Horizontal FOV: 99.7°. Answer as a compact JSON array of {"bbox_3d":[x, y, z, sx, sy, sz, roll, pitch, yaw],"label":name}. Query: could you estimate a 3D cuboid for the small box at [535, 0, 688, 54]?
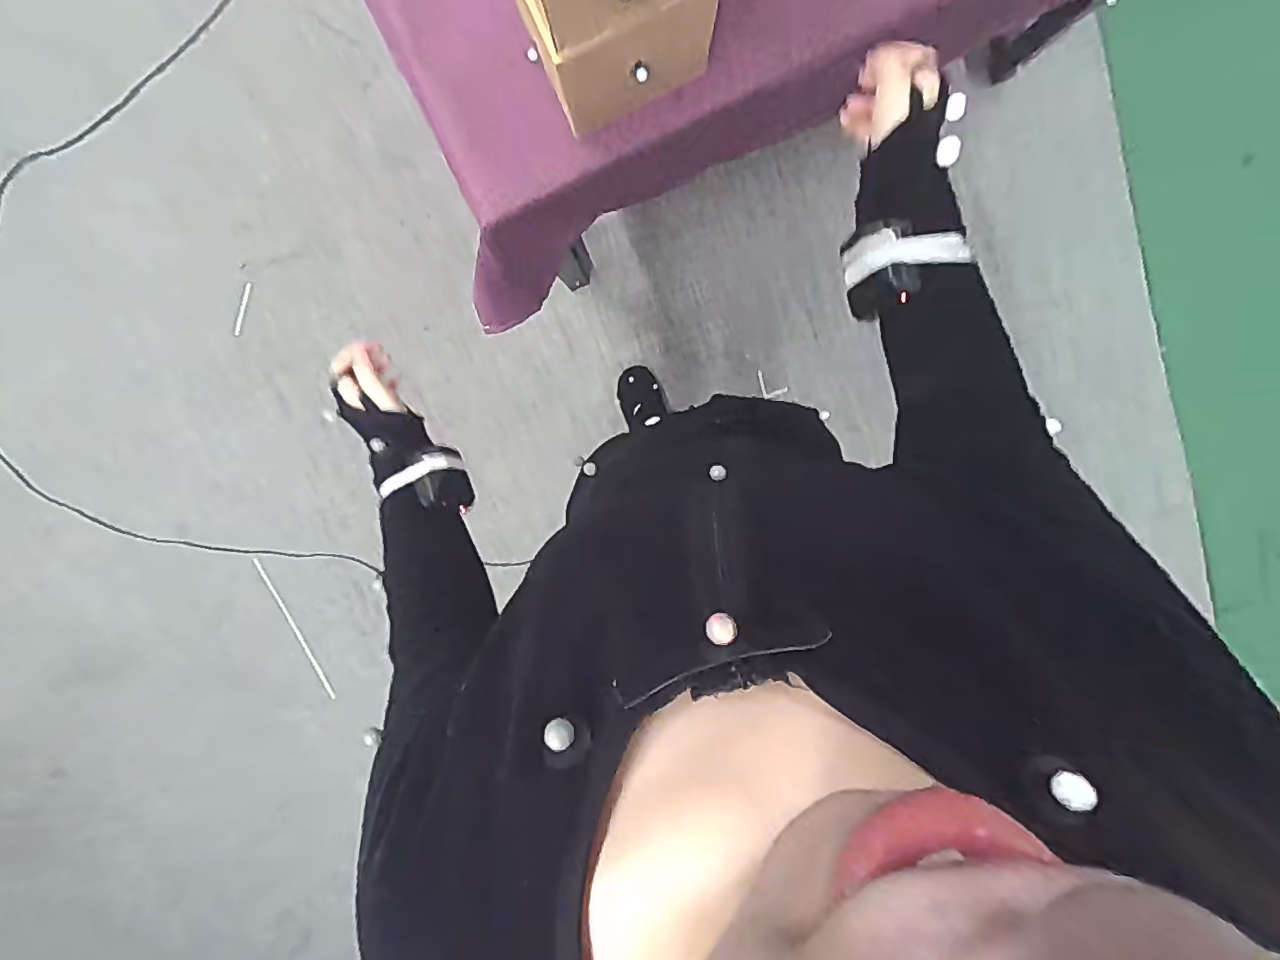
[{"bbox_3d":[-0.037,-0.490,0.412,0.168,0.176,0.179,-24,100,5],"label":"small box"}]
